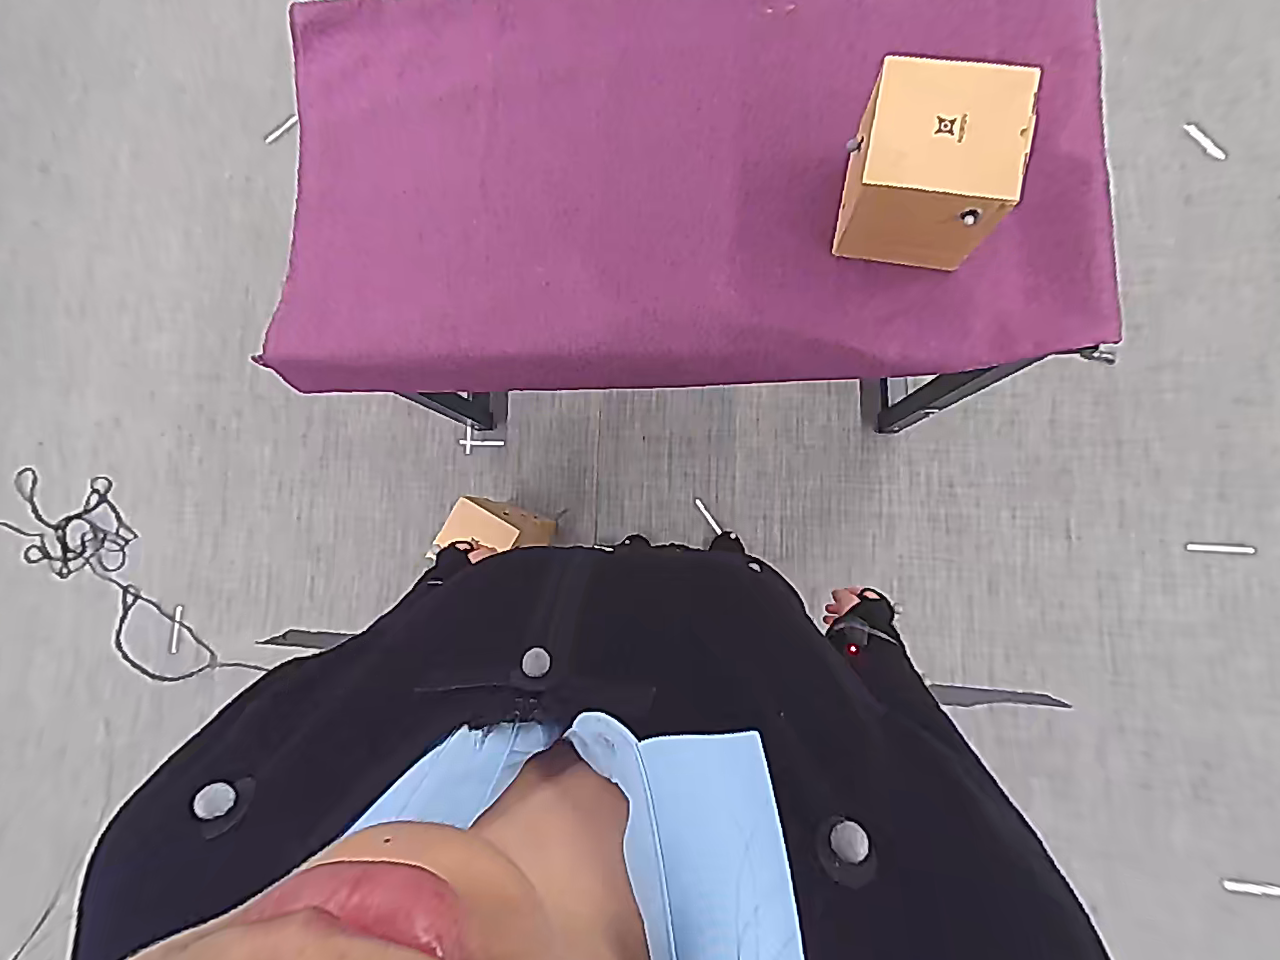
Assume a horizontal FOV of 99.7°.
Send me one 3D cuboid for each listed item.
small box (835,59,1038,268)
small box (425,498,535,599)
[{"bbox_3d":[0.368,-0.400,0.706,0.179,0.176,0.168,11,85,7],"label":"small box"},{"bbox_3d":[-0.370,0.159,1.298,0.168,0.176,0.179,30,89,8],"label":"small box"}]
